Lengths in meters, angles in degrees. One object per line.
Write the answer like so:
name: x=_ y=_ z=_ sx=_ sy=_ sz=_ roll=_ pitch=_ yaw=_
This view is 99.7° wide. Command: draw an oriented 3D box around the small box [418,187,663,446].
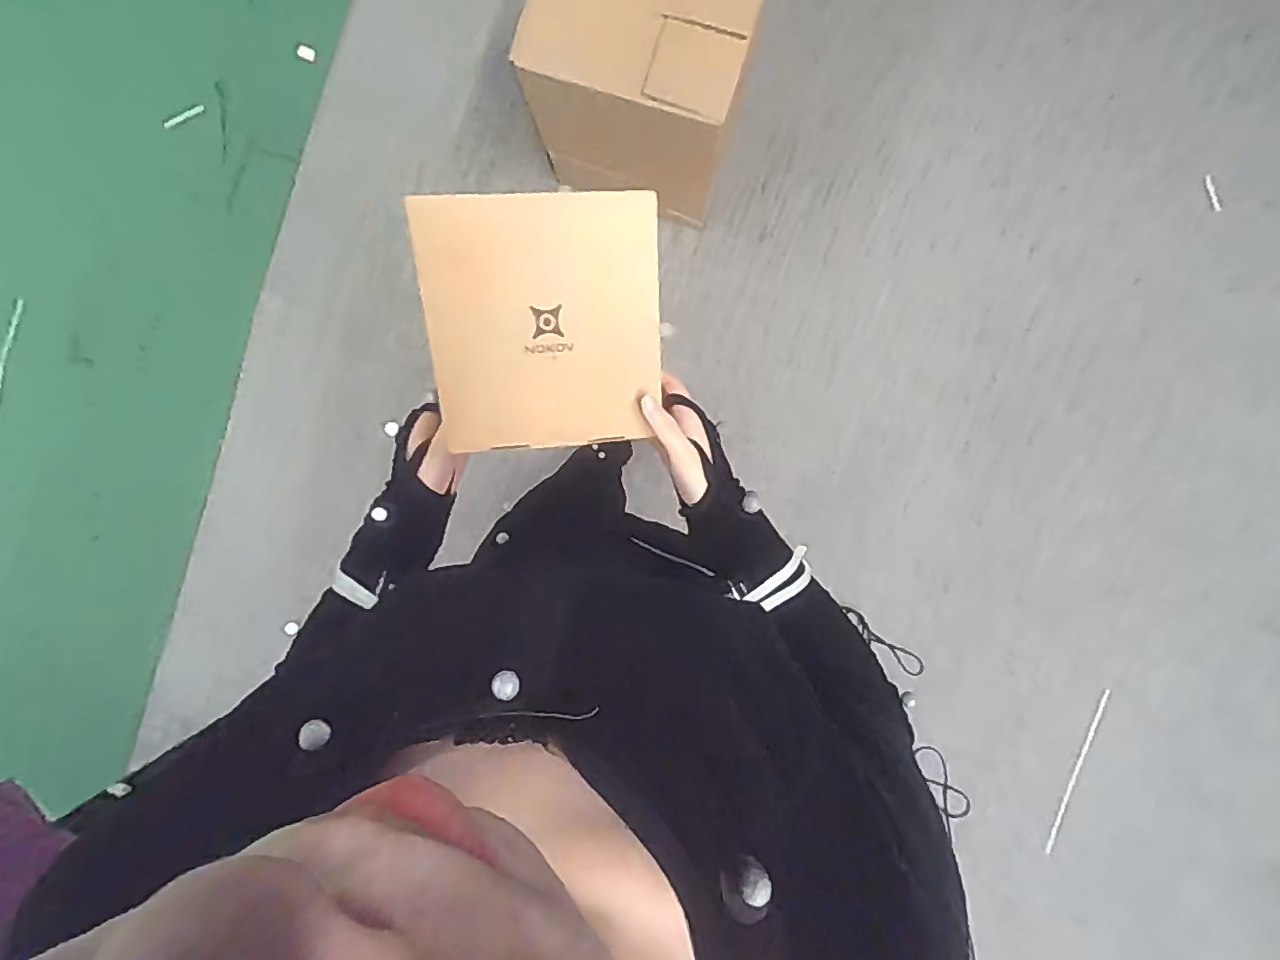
small box: x=-0.077 y=-0.140 z=0.463 sx=0.168 sy=0.176 sz=0.179 roll=-5 pitch=112 yaw=-8
